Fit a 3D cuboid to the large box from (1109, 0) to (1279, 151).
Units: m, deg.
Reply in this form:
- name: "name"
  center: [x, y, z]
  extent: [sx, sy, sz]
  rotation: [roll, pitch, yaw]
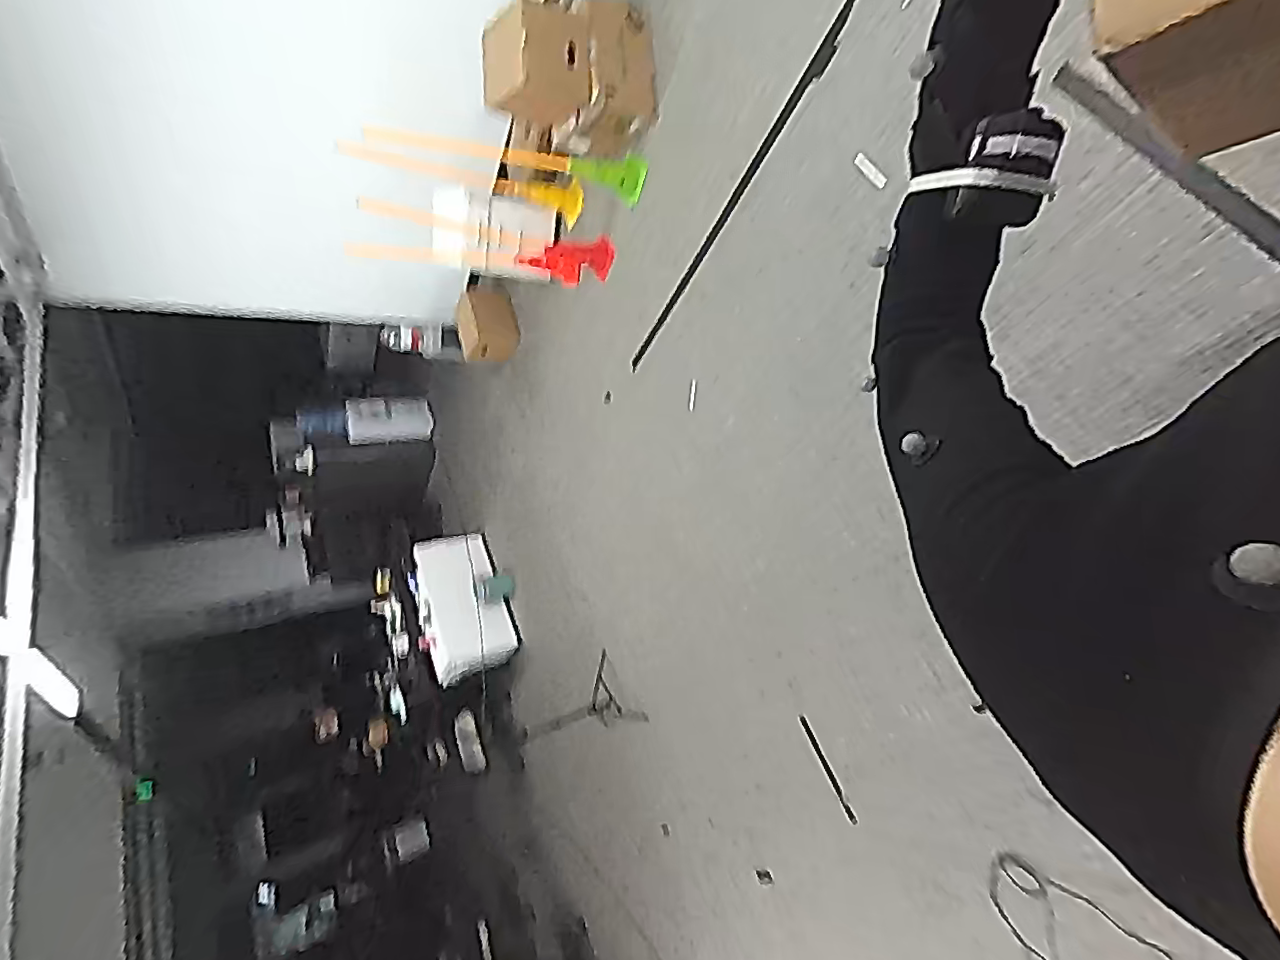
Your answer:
- name: "large box"
  center: [0.506, -0.443, 0.260]
  extent: [0.408, 0.320, 0.320]
  rotation: [-2, 98, 52]
